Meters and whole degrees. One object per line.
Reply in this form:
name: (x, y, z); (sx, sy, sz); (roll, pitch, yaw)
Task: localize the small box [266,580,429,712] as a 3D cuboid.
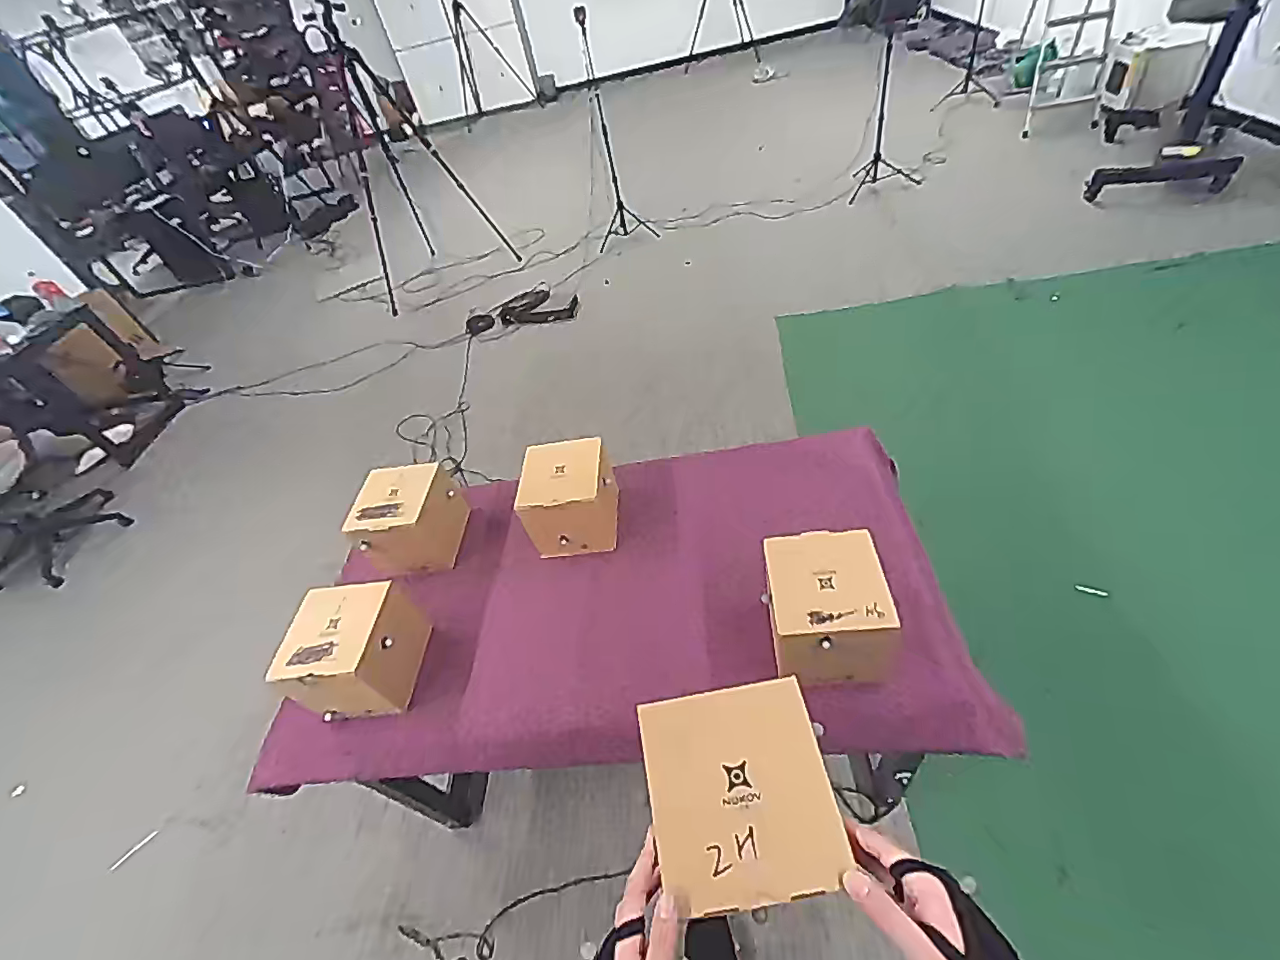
small box: (-0.508, 0.304, 0.972); (0.168, 0.176, 0.179); (-6, 45, 8)

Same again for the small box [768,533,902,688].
small box: (0.295, 0.207, 0.855); (0.168, 0.176, 0.179); (-6, 43, 10)

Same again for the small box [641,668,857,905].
small box: (0.098, 0.318, 0.559); (0.168, 0.176, 0.179); (-10, 53, 1)

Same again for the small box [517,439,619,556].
small box: (-0.141, 0.038, 1.139); (0.168, 0.176, 0.179); (-7, 47, 8)
